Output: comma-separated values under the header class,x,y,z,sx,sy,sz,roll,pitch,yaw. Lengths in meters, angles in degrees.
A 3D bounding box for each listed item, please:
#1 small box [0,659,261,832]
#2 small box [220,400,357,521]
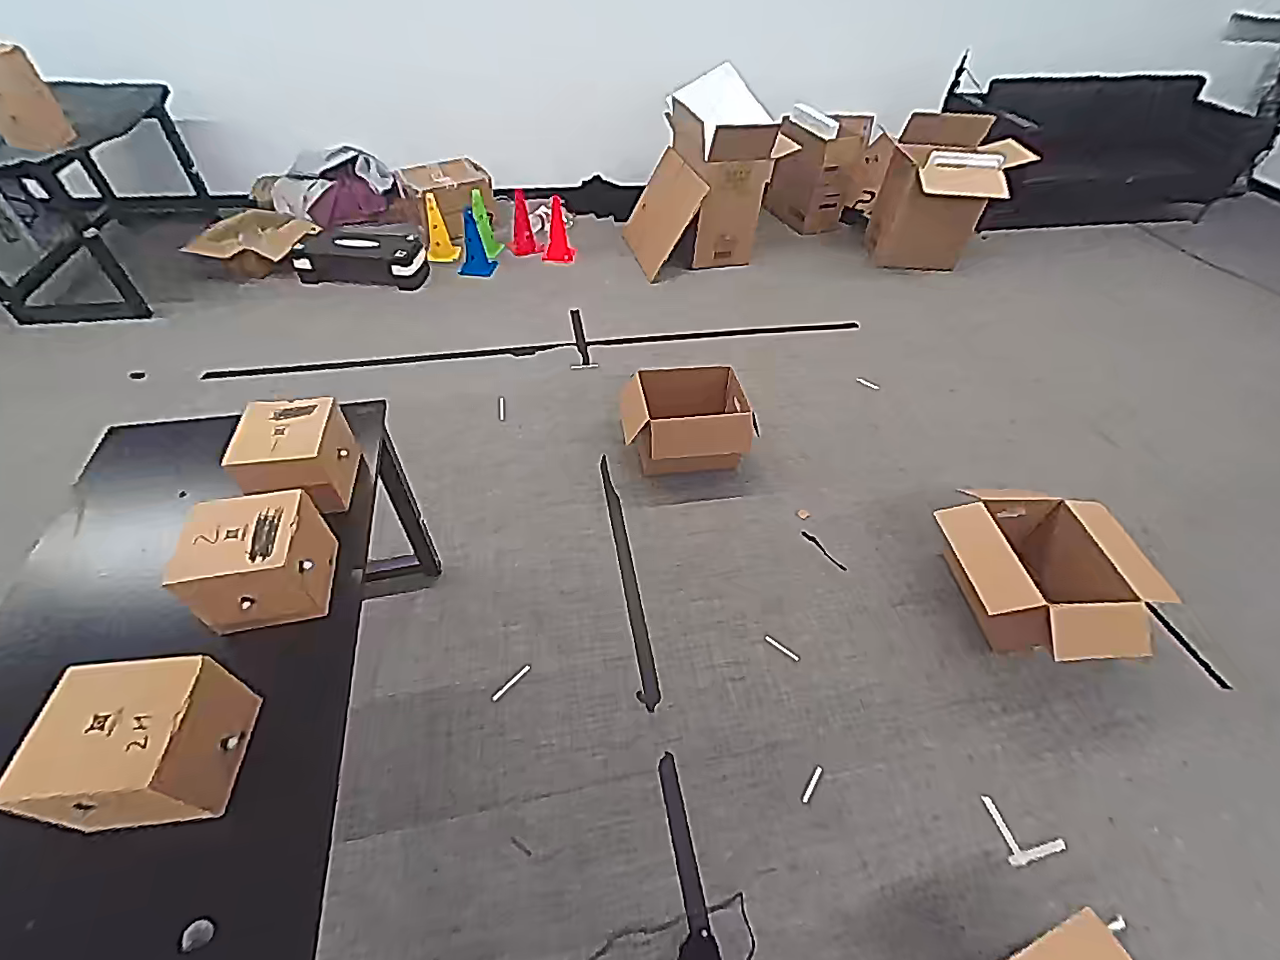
class,x,y,z,sx,sy,sz,roll,pitch,yaw
small box,-0.674,0.365,0.740,0.179,0.176,0.168,-3,49,-6
small box,-0.698,-0.039,1.103,0.168,0.176,0.179,-7,50,-8
